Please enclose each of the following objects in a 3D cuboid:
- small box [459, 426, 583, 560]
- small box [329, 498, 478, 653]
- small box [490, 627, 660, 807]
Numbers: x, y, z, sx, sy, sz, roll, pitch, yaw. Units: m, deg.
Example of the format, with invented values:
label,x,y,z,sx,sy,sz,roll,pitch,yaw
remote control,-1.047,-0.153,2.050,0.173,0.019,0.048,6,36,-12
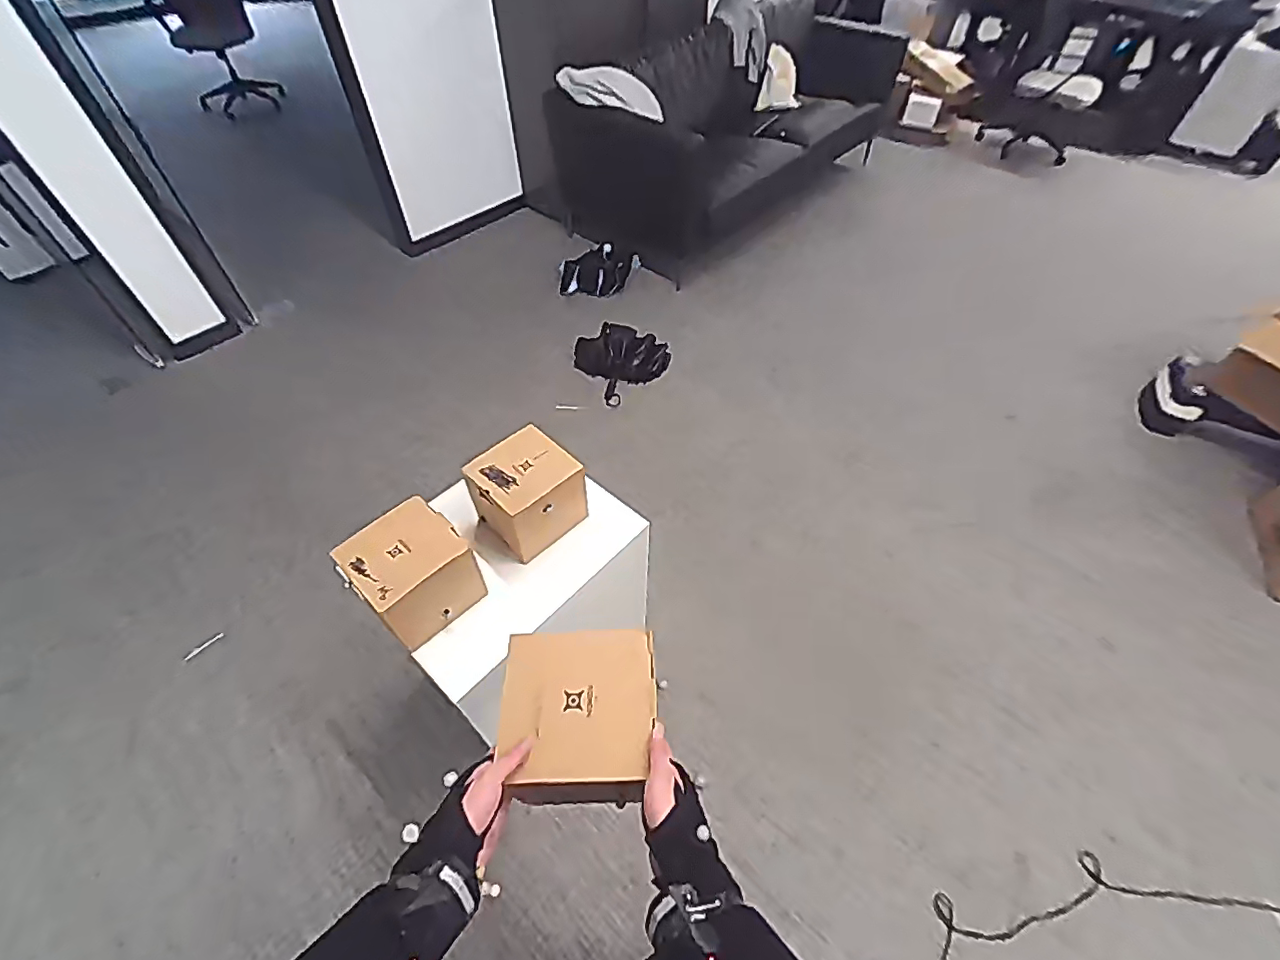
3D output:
label,x,y,z,sx,sy,sz,roll,pitch,yaw
small box,-0.230,0.030,1.096,0.168,0.176,0.179,38,59,26
small box,-0.412,0.173,0.977,0.168,0.176,0.179,36,57,26
small box,-0.066,0.294,0.665,0.179,0.176,0.168,-5,51,3
